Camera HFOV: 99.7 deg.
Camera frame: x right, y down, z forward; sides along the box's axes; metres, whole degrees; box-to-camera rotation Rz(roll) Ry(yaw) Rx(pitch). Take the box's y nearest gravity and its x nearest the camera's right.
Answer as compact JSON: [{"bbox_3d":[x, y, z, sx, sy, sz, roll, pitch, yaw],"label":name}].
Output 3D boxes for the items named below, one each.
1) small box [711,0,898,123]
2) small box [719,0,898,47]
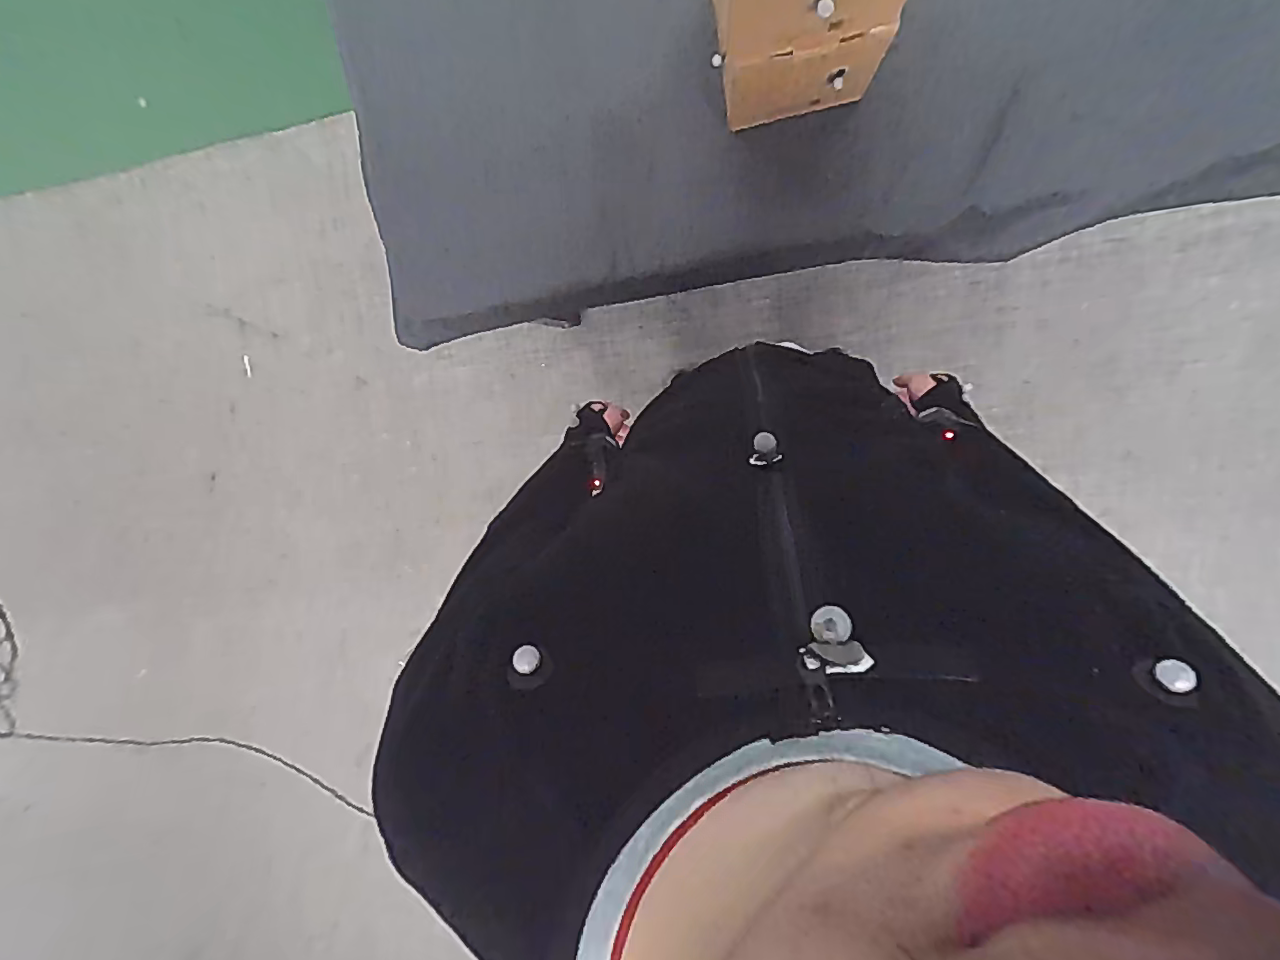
[{"bbox_3d":[0.170,-0.531,0.602,0.168,0.176,0.179,-8,101,9],"label":"small box"},{"bbox_3d":[0.146,-0.498,0.443,0.168,0.176,0.179,-7,103,8],"label":"small box"}]
